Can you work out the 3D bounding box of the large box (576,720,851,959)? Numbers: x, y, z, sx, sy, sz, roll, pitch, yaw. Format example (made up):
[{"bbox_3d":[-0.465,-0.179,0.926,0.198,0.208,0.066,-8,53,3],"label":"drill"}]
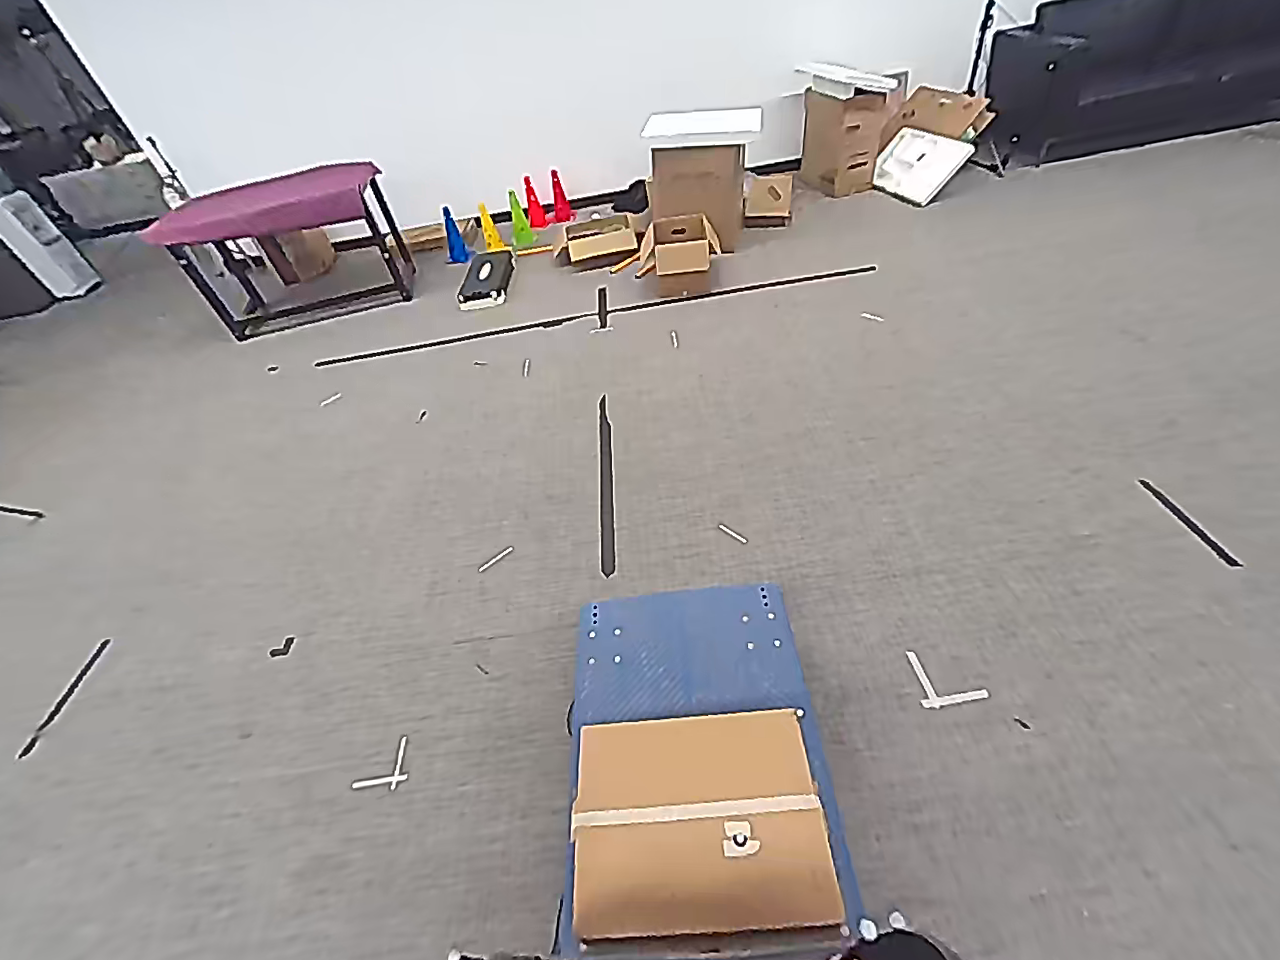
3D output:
[{"bbox_3d":[0.110,0.668,0.976,0.408,0.320,0.320,-6,44,3],"label":"large box"}]
